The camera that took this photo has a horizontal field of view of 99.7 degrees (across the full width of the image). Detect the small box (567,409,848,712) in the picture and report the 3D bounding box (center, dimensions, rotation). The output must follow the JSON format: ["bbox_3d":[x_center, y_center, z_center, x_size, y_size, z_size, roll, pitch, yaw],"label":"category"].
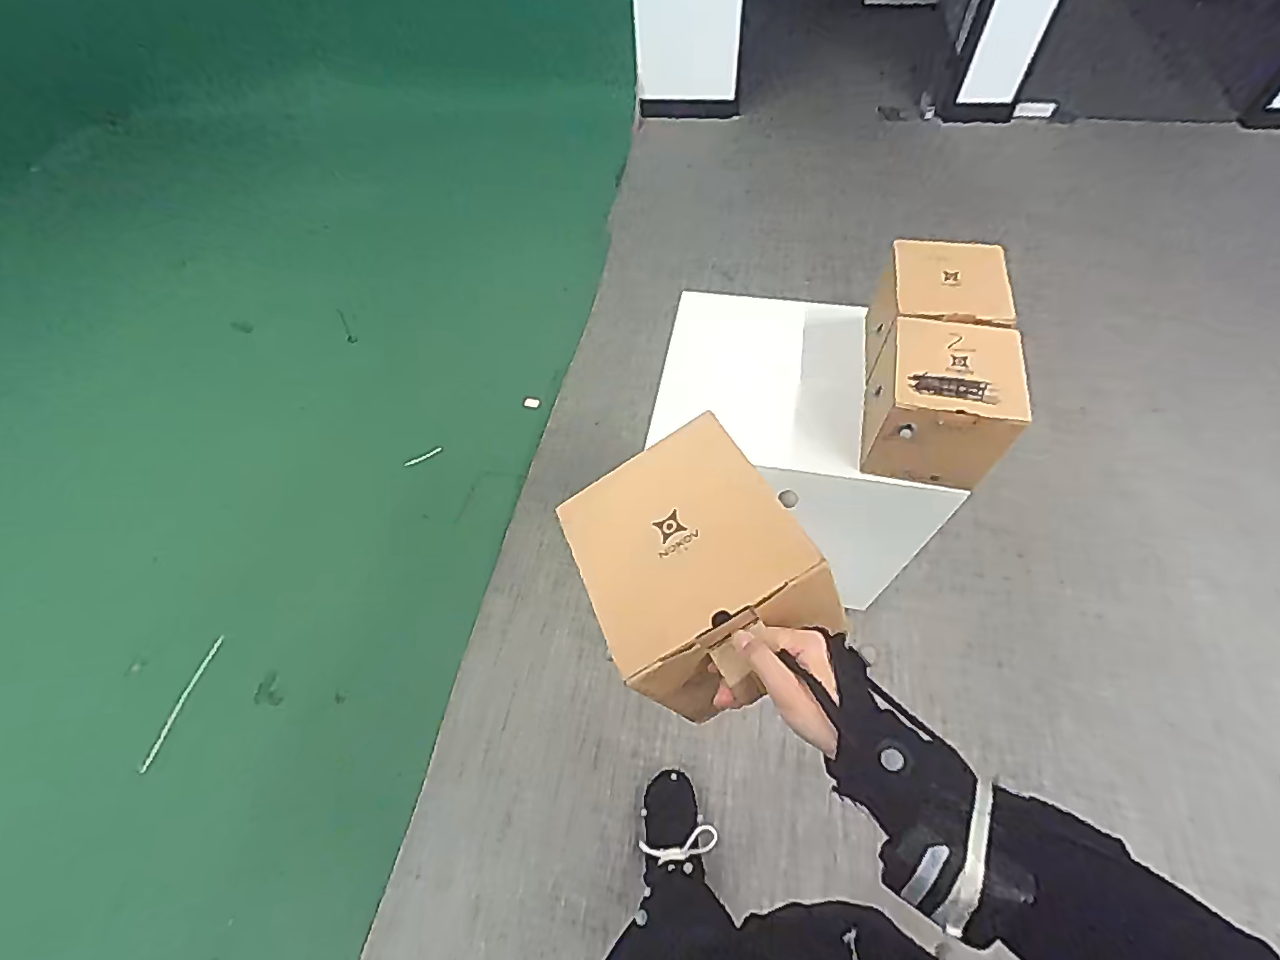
[{"bbox_3d":[0.062,0.077,0.484,0.168,0.176,0.179,-31,50,4],"label":"small box"}]

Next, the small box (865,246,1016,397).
[{"bbox_3d":[0.483,-0.258,0.898,0.168,0.176,0.179,8,58,9],"label":"small box"}]
